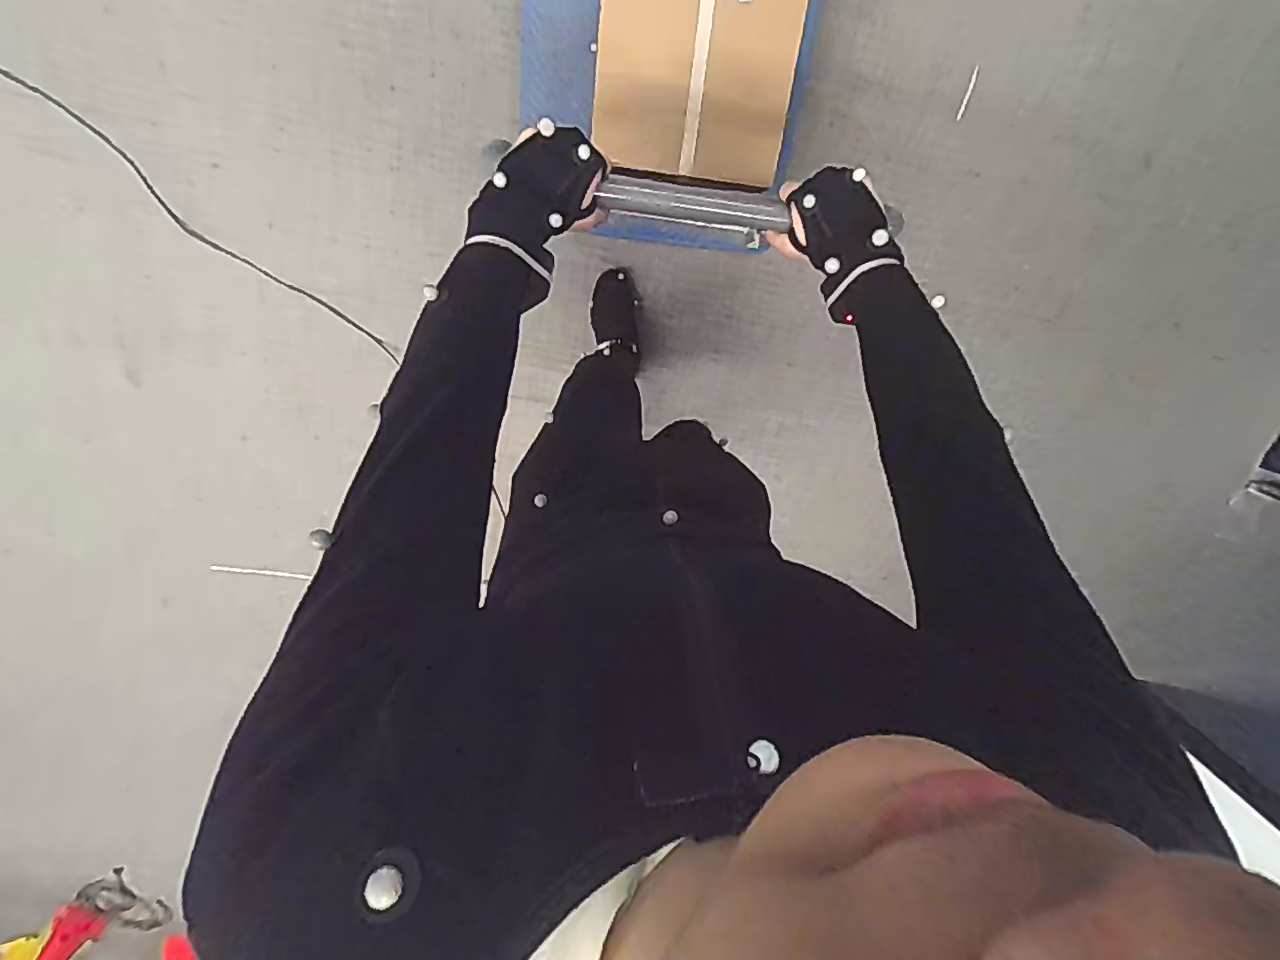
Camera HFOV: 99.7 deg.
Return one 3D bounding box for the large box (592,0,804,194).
[{"bbox_3d":[0.085,-0.760,0.961,0.320,0.320,0.408,4,112,-7],"label":"large box"}]
